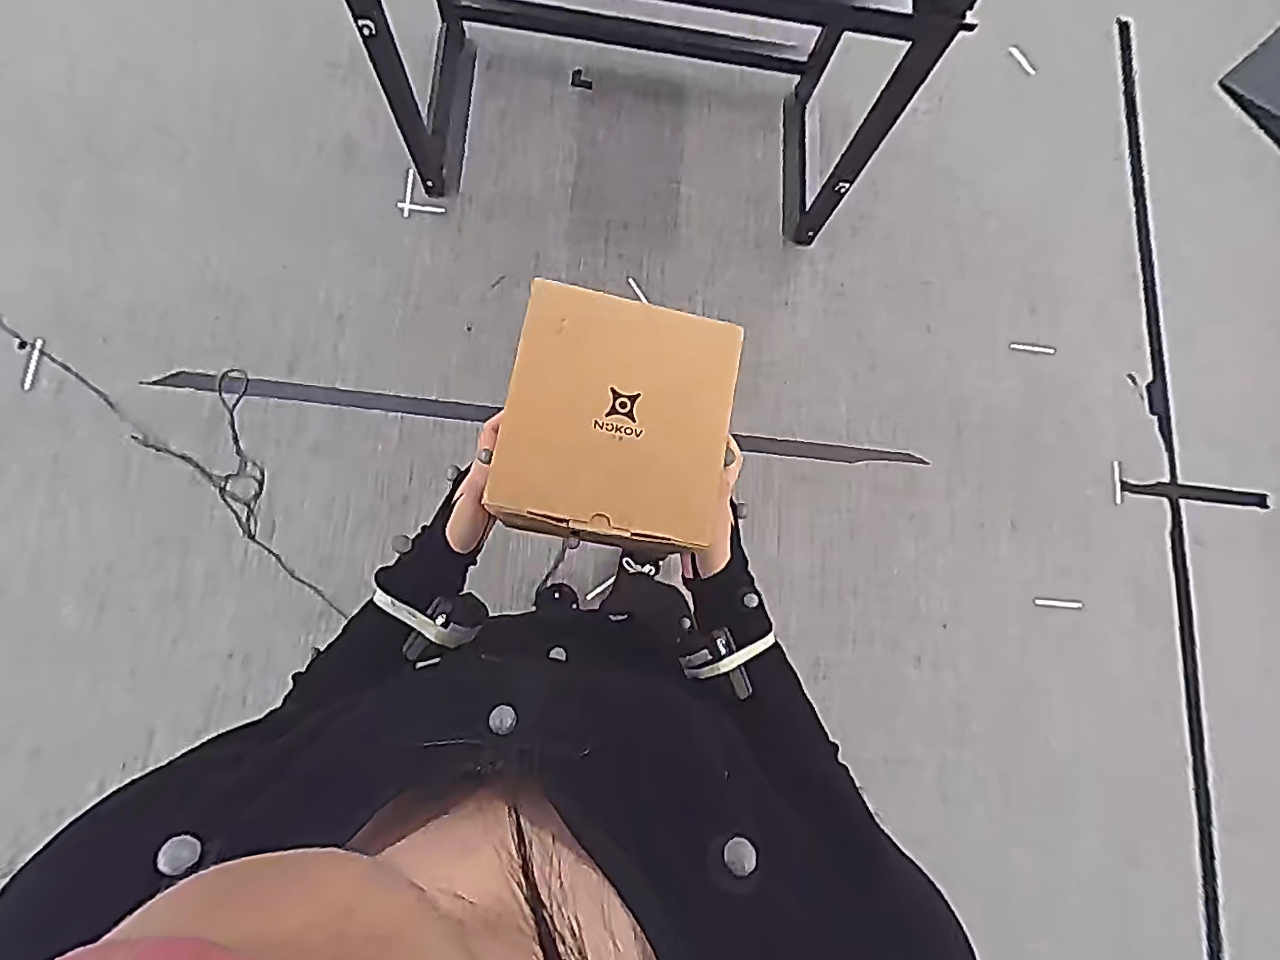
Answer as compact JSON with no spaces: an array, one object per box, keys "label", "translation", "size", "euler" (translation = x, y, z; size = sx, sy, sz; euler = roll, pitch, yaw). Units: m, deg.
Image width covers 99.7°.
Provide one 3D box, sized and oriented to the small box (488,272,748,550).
[{"label":"small box","translation":[-0.023,-0.040,0.464],"size":[0.168,0.176,0.179],"euler":[11,81,-7]}]
